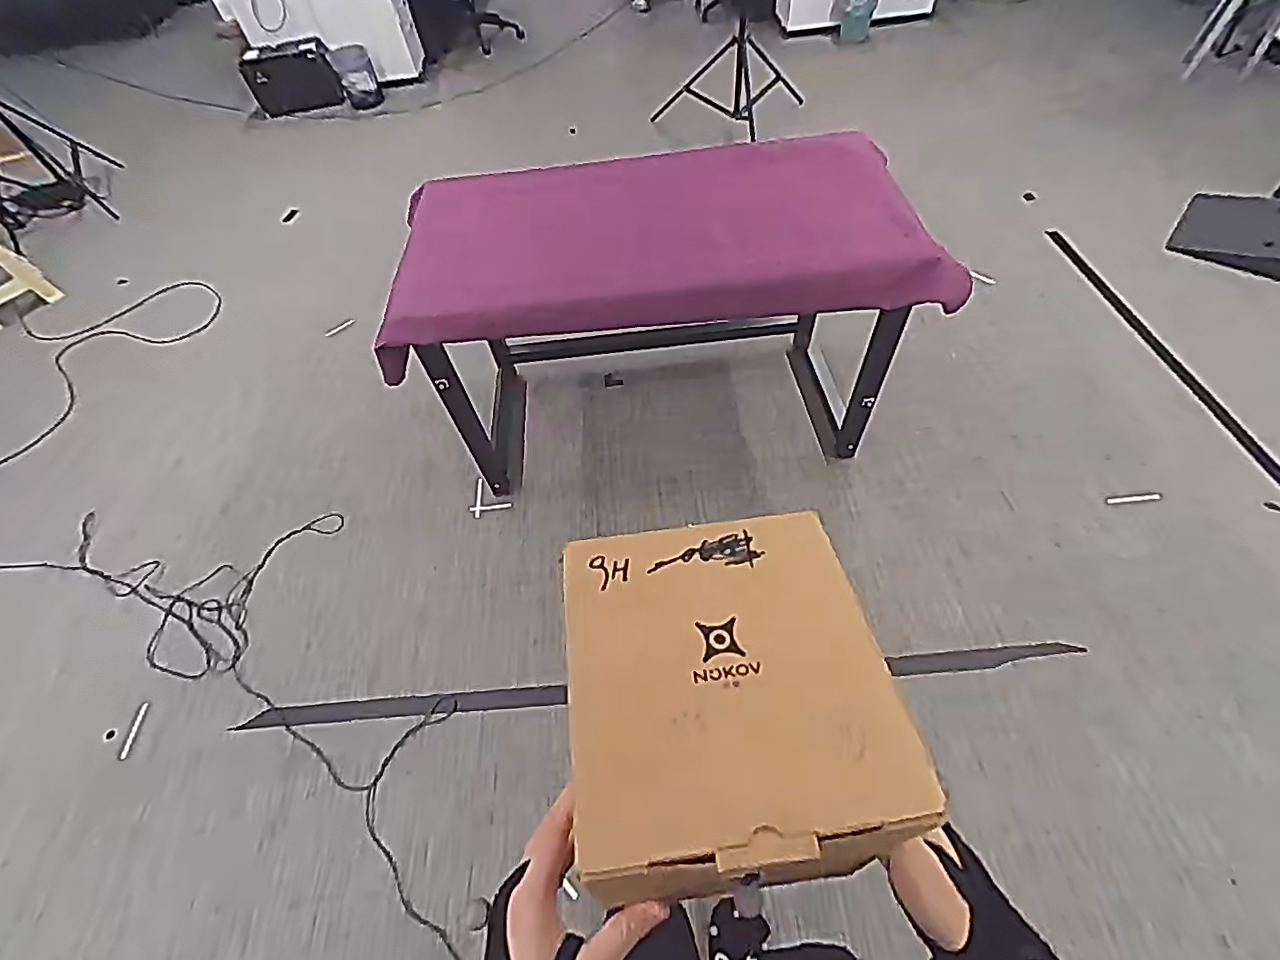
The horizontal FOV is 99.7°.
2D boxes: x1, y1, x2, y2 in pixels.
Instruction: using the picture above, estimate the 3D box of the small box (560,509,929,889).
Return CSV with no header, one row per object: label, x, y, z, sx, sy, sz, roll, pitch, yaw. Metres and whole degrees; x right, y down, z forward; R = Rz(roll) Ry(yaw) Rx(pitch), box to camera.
small box,0.044,0.146,0.350,0.168,0.176,0.179,-7,48,-3
